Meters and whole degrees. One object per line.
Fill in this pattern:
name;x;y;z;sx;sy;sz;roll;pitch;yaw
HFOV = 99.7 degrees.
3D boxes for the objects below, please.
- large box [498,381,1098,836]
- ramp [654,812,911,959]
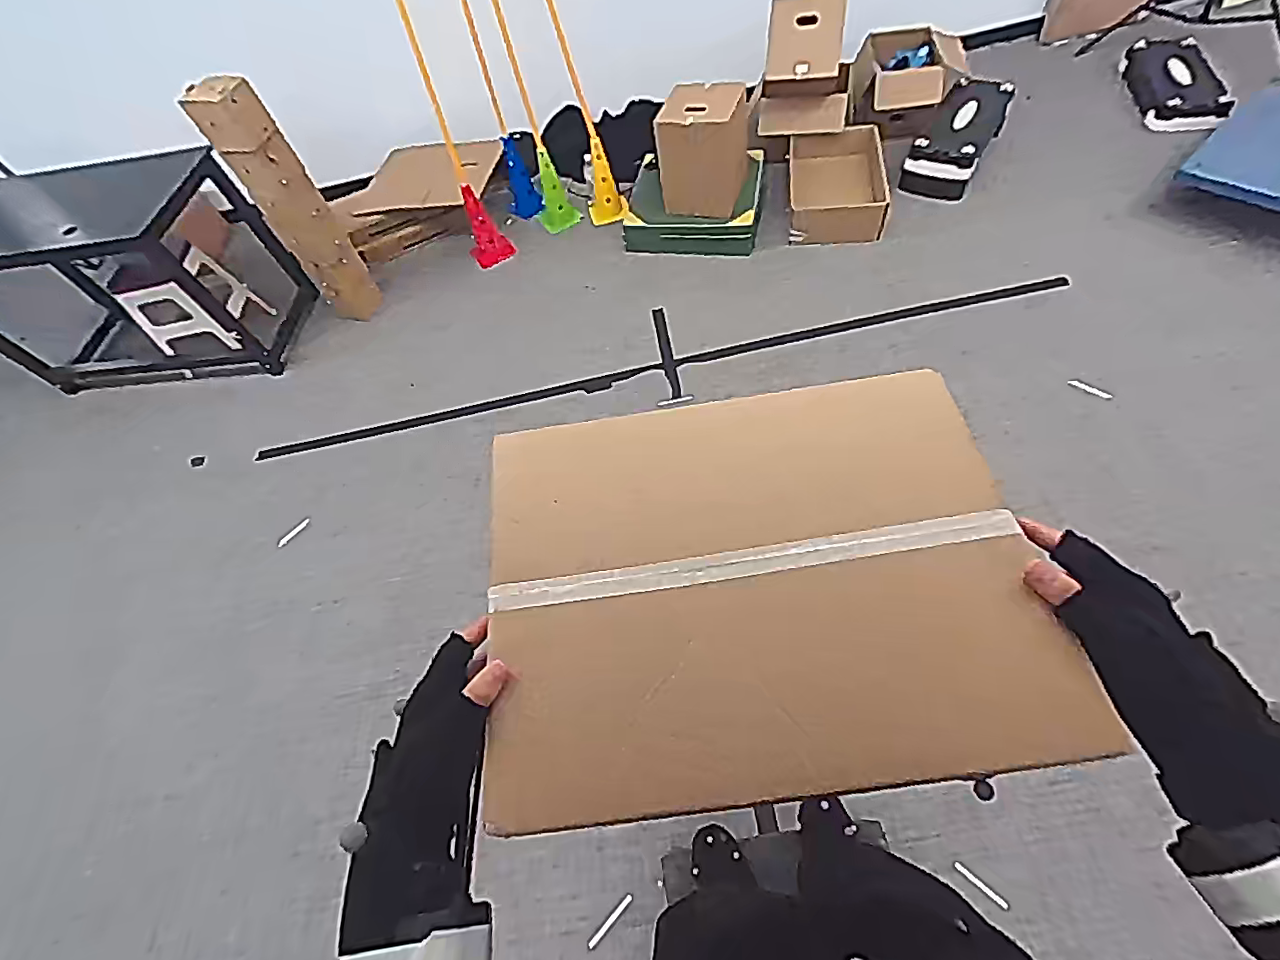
large box;0.100;0.142;0.553;0.408;0.320;0.320;-9;59;1
ramp;0.350;1.230;1.018;0.509;0.206;0.991;-12;58;0
